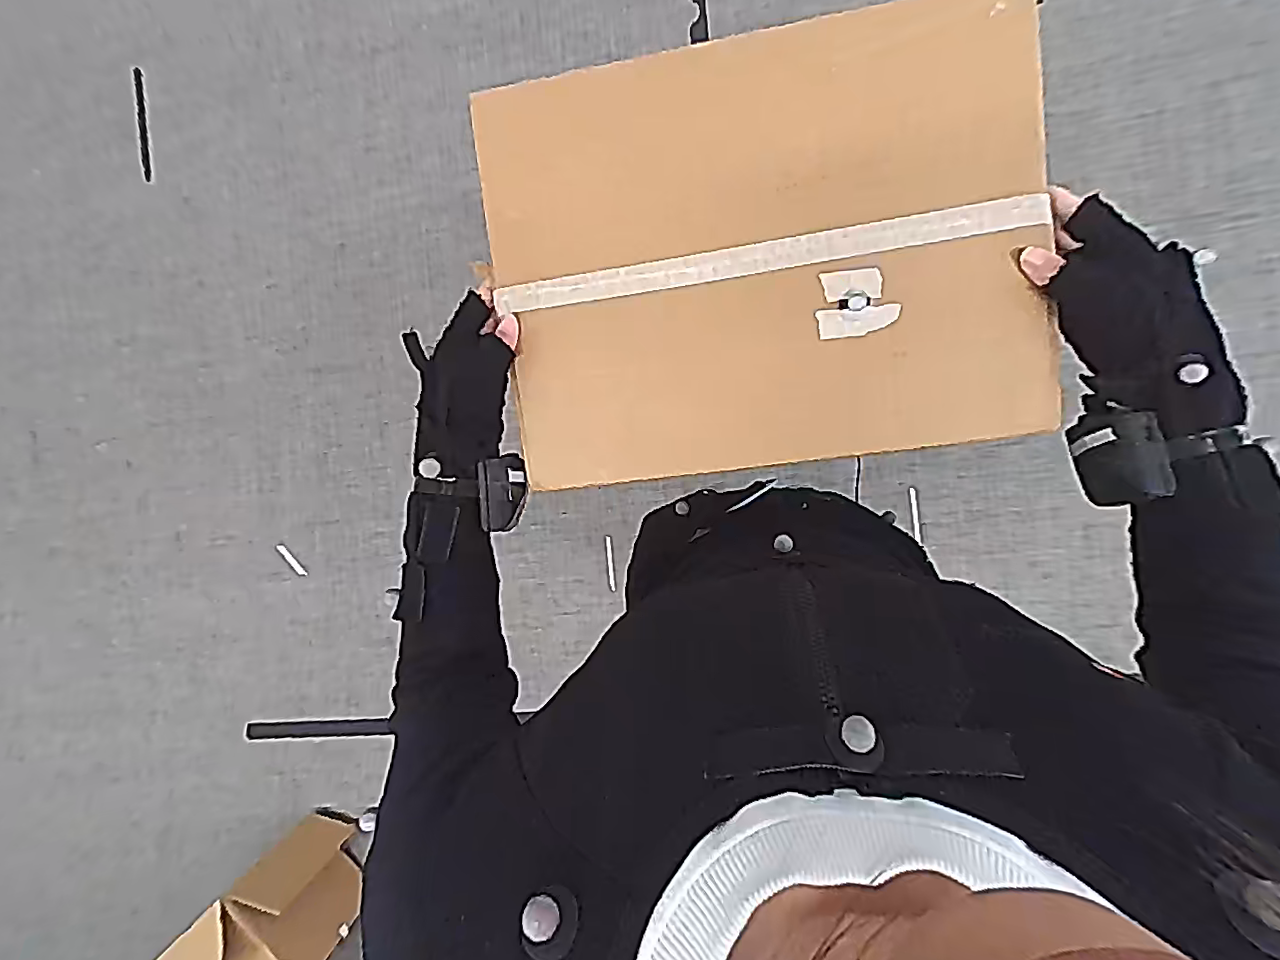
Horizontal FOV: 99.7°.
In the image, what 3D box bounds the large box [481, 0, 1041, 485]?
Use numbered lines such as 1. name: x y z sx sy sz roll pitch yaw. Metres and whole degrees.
1. large box: 0.103 -0.188 0.566 0.408 0.320 0.320 -7 96 7
